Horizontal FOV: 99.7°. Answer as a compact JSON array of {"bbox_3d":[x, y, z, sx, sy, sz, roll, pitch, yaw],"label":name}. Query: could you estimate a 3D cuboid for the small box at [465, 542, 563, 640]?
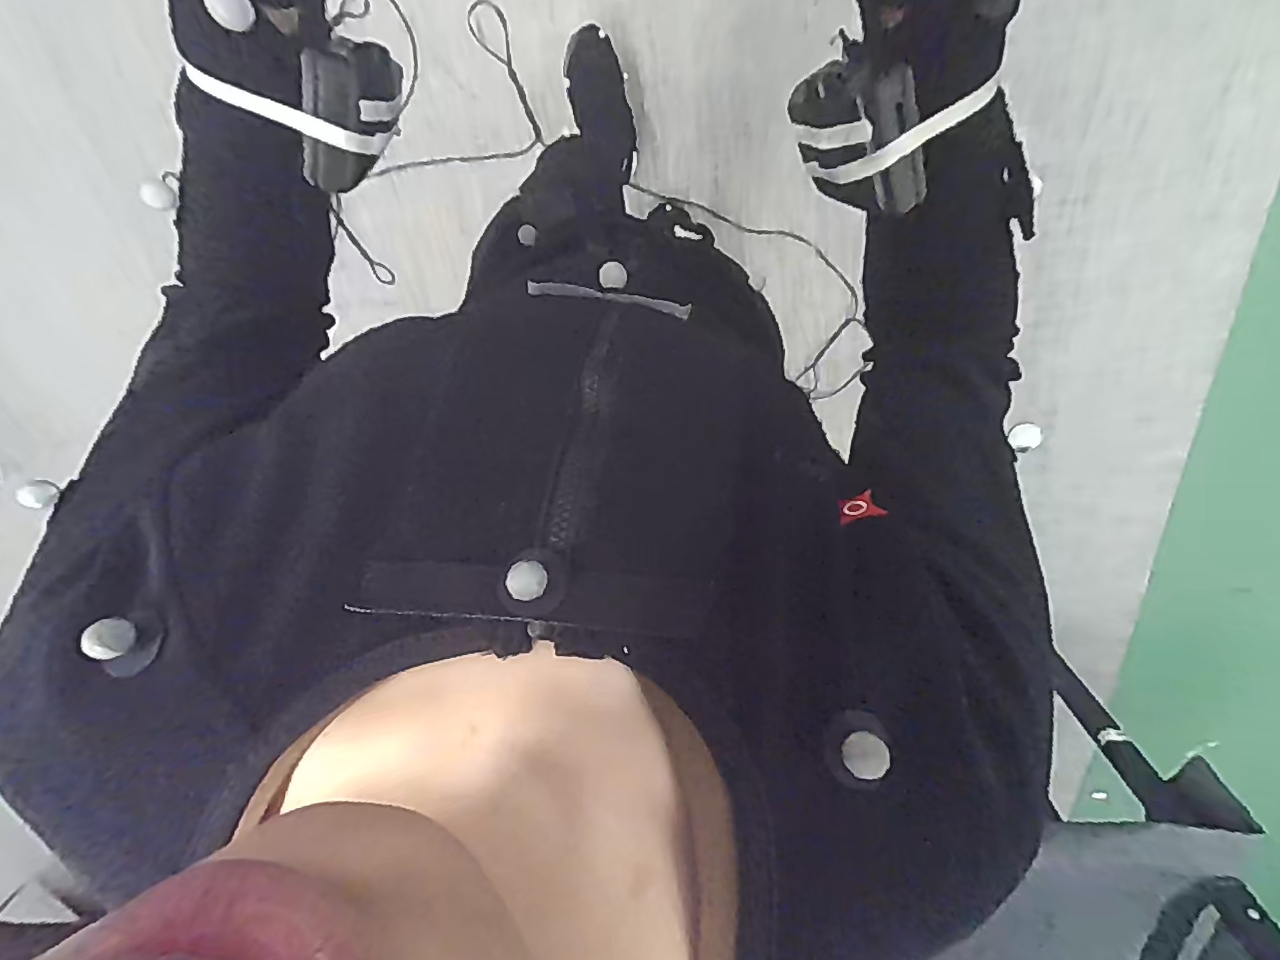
[{"bbox_3d":[-0.287,0.260,1.285,0.179,0.176,0.168,-3,116,7],"label":"small box"}]
